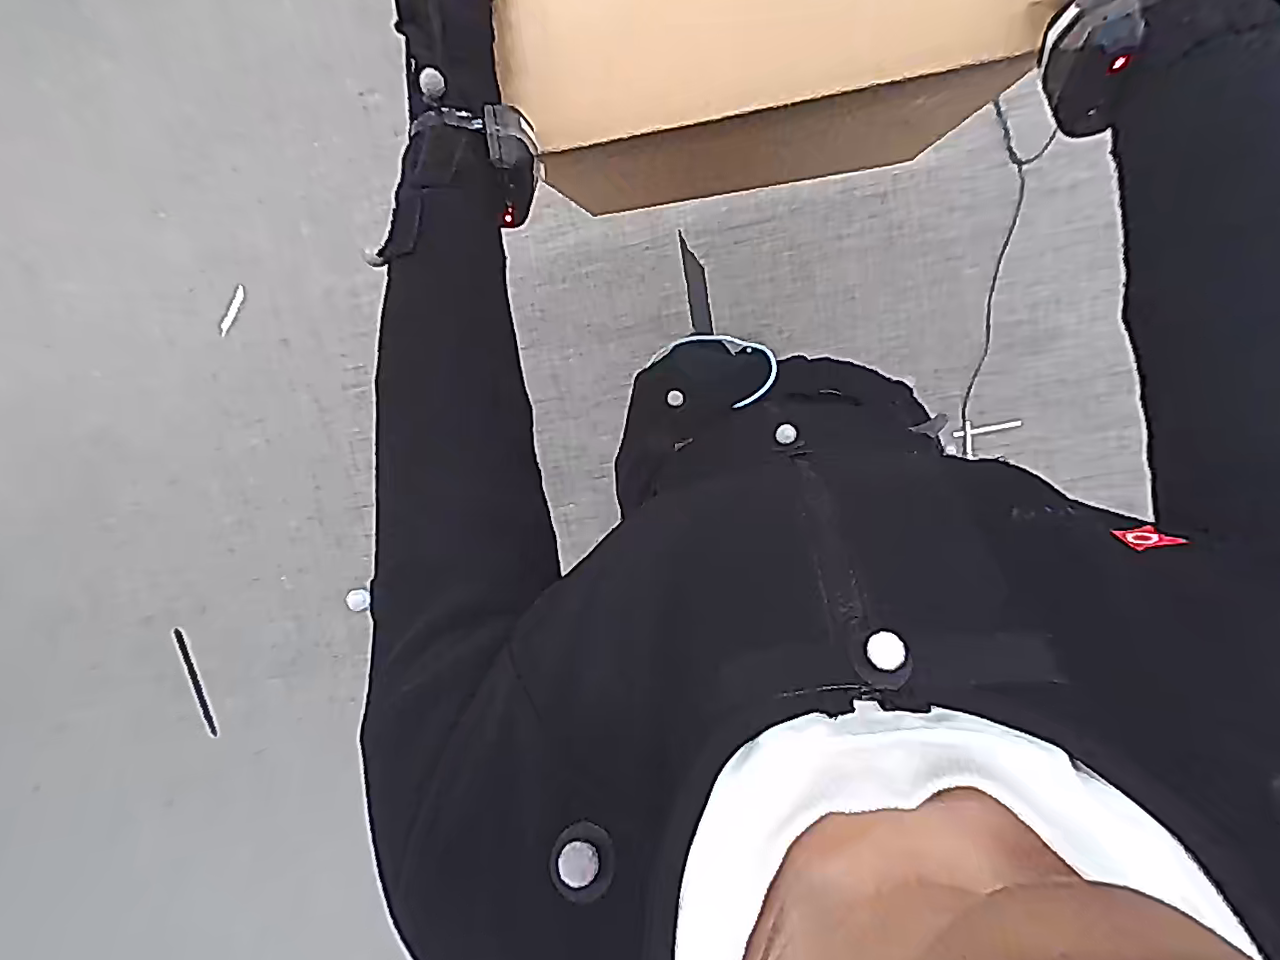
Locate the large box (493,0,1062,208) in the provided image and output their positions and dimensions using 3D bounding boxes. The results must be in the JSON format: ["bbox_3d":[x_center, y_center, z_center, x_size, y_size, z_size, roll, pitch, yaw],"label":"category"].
[{"bbox_3d":[0.090,-0.481,0.503,0.408,0.320,0.320,-6,108,9],"label":"large box"}]
